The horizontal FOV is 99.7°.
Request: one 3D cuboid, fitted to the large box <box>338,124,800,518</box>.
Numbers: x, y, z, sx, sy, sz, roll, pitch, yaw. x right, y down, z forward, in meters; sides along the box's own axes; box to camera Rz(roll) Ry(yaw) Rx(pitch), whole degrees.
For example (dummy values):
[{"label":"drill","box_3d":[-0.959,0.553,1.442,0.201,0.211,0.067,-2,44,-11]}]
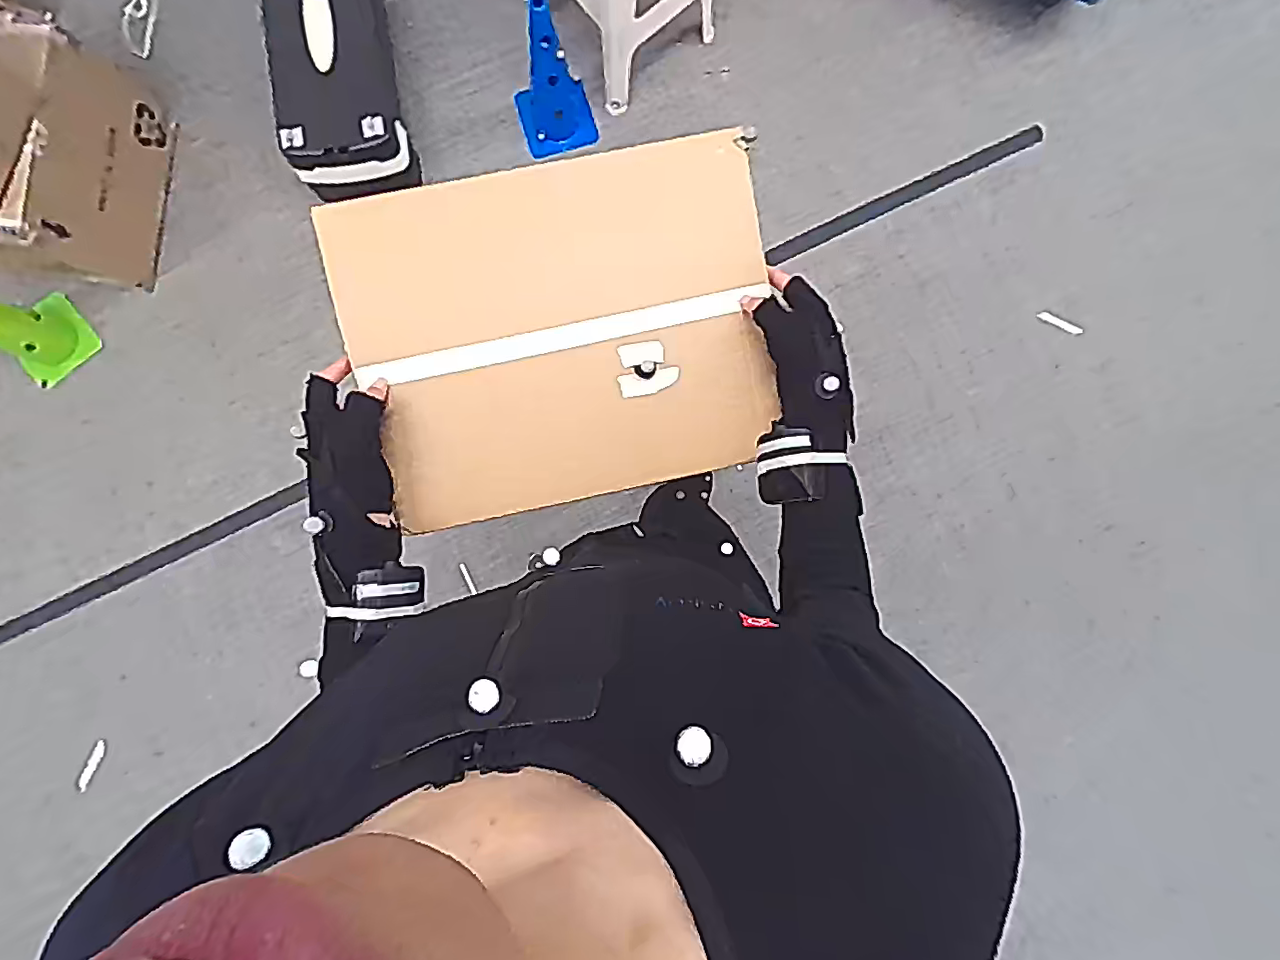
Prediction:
[{"label":"large box","box_3d":[-0.070,-0.166,0.674,0.408,0.320,0.320,-12,98,-3]}]
